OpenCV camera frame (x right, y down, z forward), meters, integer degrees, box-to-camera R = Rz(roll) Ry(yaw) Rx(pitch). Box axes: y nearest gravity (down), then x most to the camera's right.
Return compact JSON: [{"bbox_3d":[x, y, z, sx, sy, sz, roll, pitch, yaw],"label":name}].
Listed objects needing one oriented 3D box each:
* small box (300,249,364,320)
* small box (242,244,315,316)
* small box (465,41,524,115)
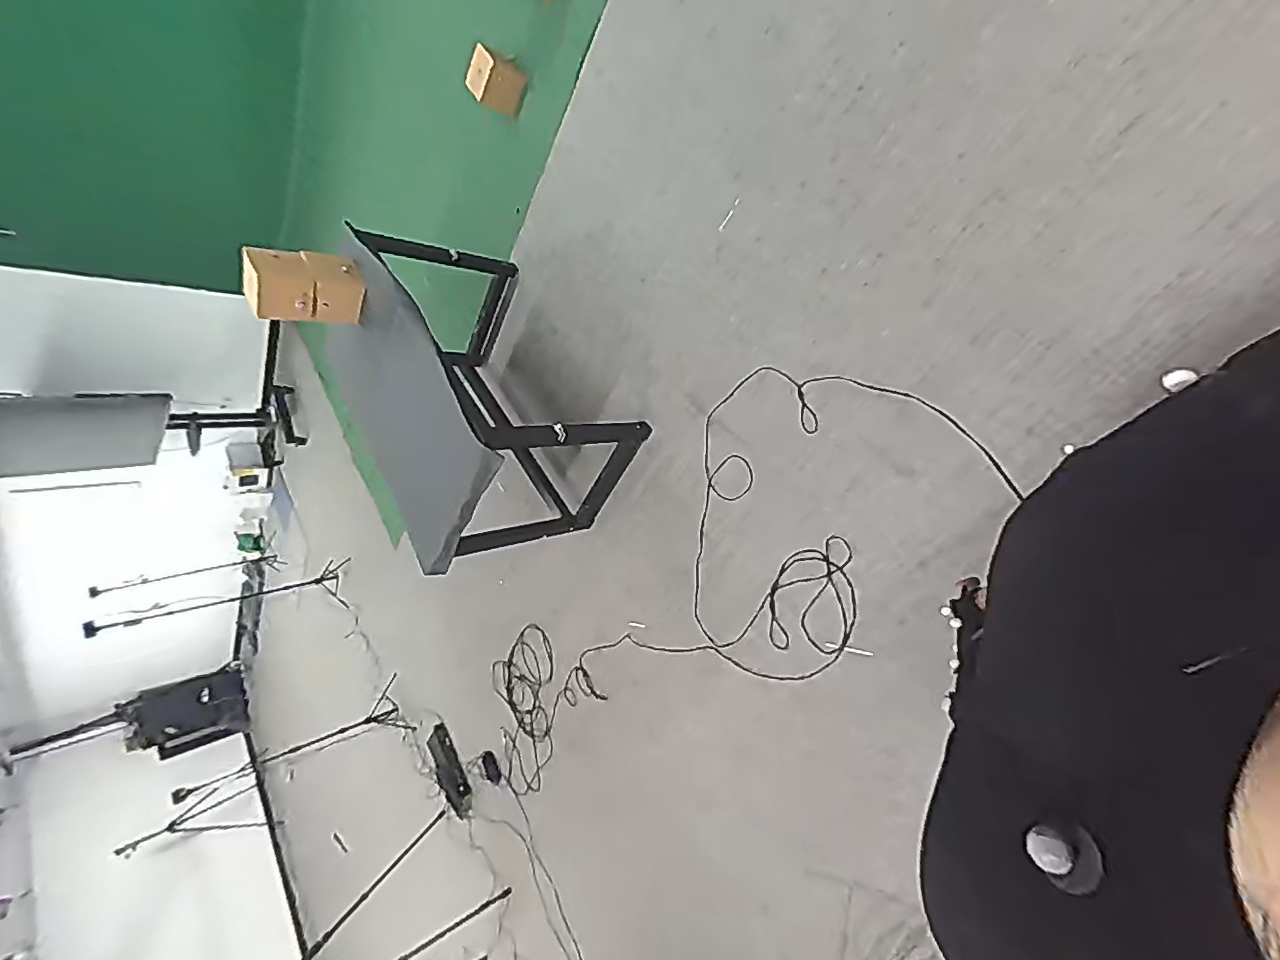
[{"bbox_3d":[-1.121,-0.699,1.954,0.168,0.176,0.179,57,130,21],"label":"small box"},{"bbox_3d":[-1.228,-0.670,1.836,0.179,0.176,0.168,49,129,25],"label":"small box"},{"bbox_3d":[-0.630,-1.749,2.358,0.179,0.176,0.168,-49,63,36],"label":"small box"}]
